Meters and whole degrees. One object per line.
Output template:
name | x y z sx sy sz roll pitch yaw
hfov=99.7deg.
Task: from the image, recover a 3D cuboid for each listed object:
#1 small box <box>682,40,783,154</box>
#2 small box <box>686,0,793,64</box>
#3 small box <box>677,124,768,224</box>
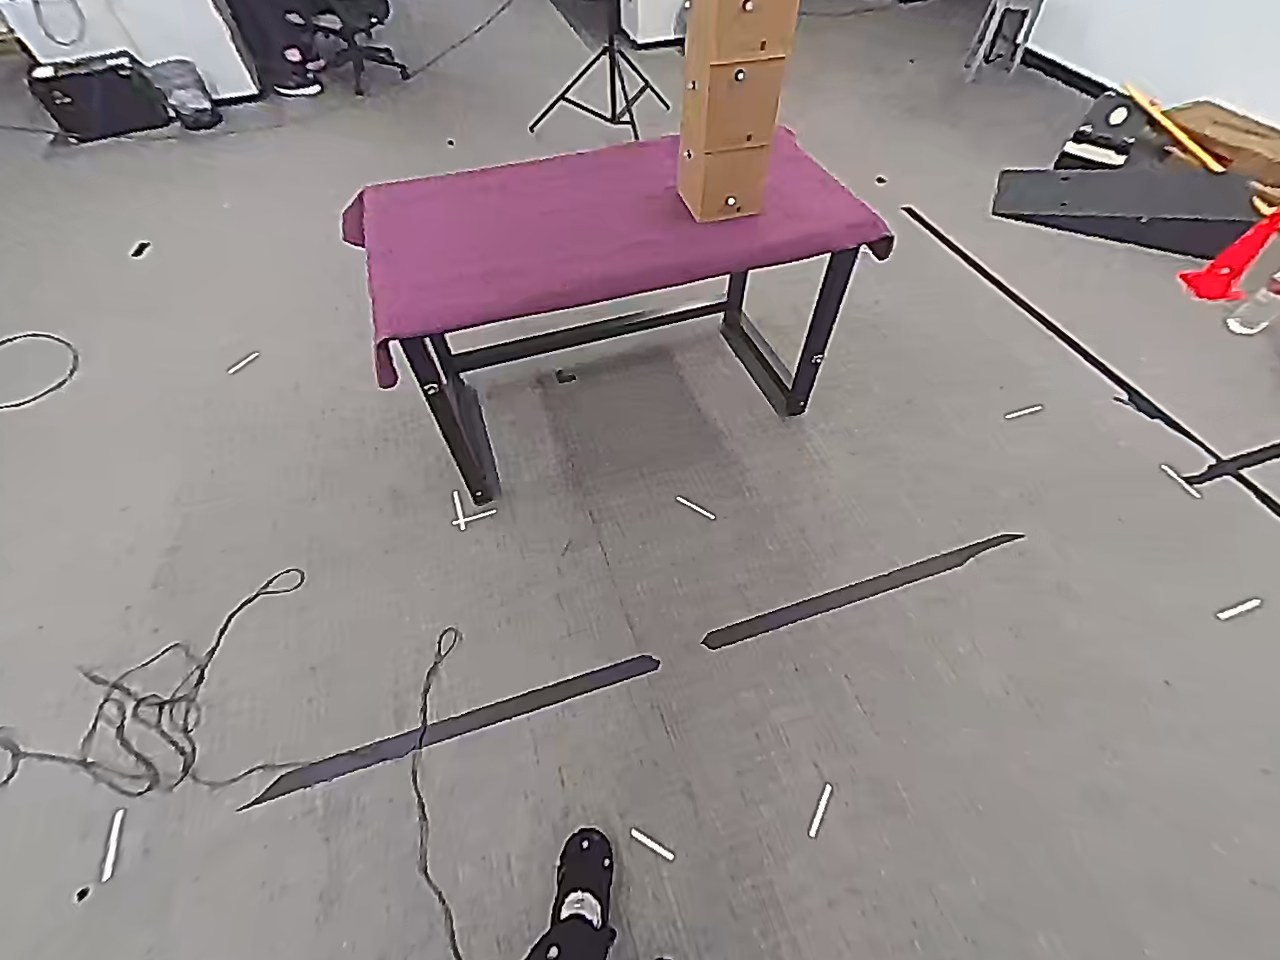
small box | 0.193 -0.853 1.199 0.168 0.176 0.179 -13 55 -7
small box | 0.194 -0.943 1.062 0.168 0.176 0.179 -13 55 -7
small box | 0.194 -0.763 1.335 0.168 0.176 0.179 -14 56 -8
